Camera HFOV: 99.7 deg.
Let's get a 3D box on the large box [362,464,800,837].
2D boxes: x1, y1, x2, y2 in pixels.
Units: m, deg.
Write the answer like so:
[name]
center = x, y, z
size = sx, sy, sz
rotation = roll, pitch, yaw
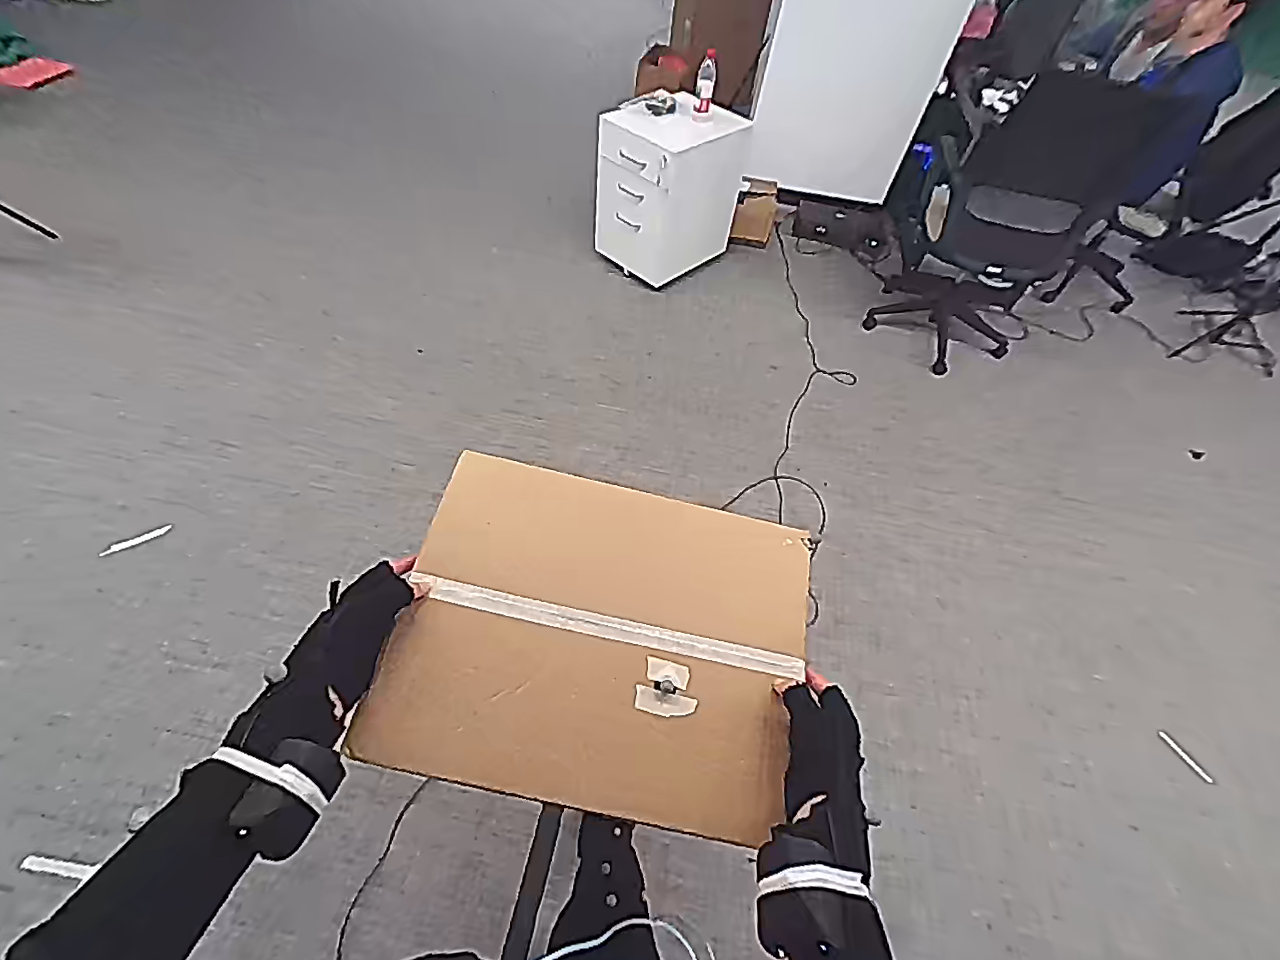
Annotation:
[large box]
center = -0.054, 0.223, 0.688
size = 0.408, 0.320, 0.320
rotation = 14, 62, -2
